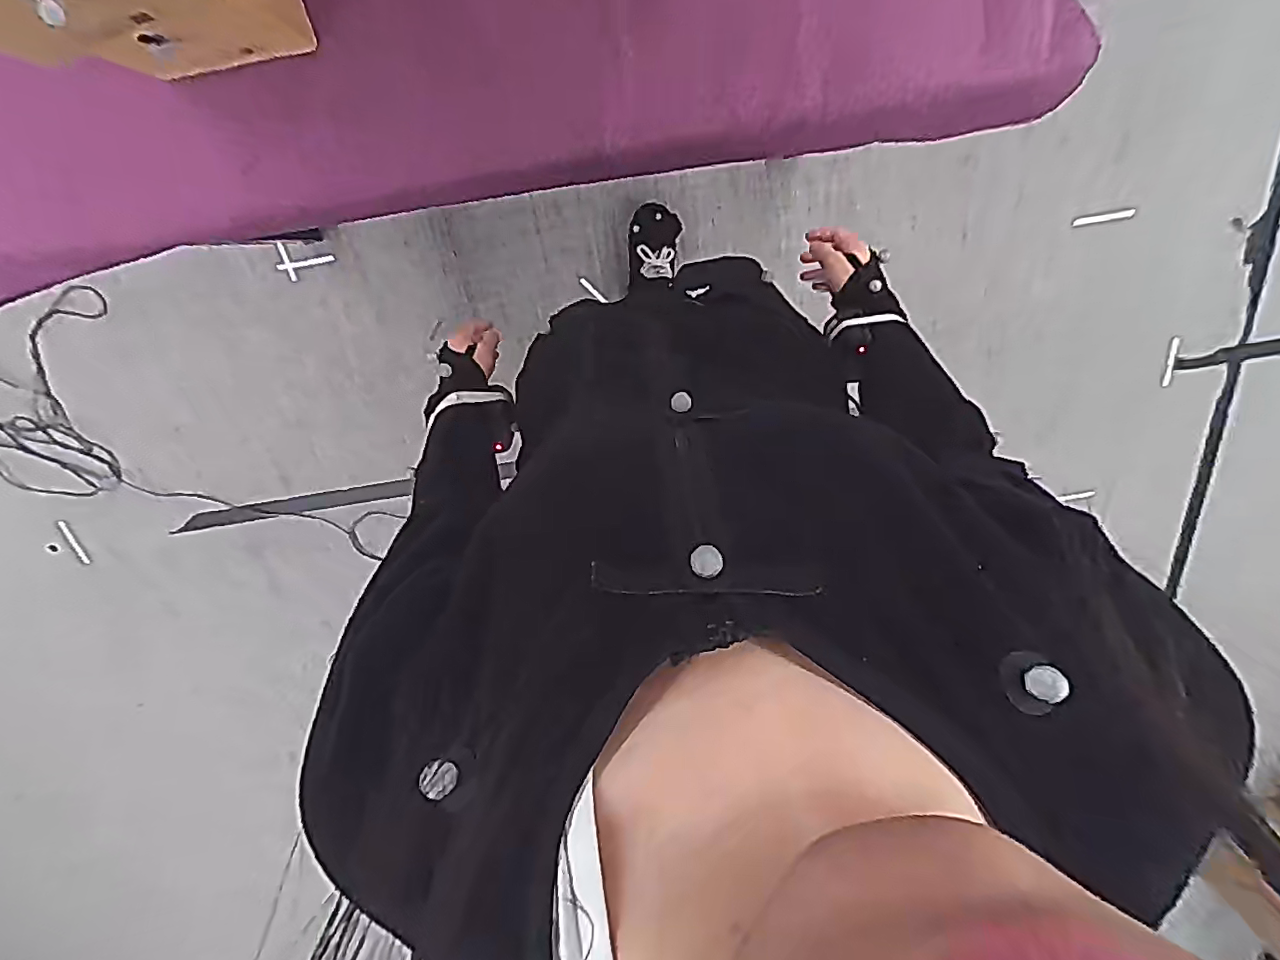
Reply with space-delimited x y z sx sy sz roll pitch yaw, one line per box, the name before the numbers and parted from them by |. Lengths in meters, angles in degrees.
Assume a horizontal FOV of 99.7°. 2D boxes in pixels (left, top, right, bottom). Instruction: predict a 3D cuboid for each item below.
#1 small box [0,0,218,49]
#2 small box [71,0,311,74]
small box | -0.395 -0.378 0.301 0.168 0.176 0.179 -15 114 2
small box | -0.414 -0.462 0.442 0.168 0.176 0.179 -11 114 1
